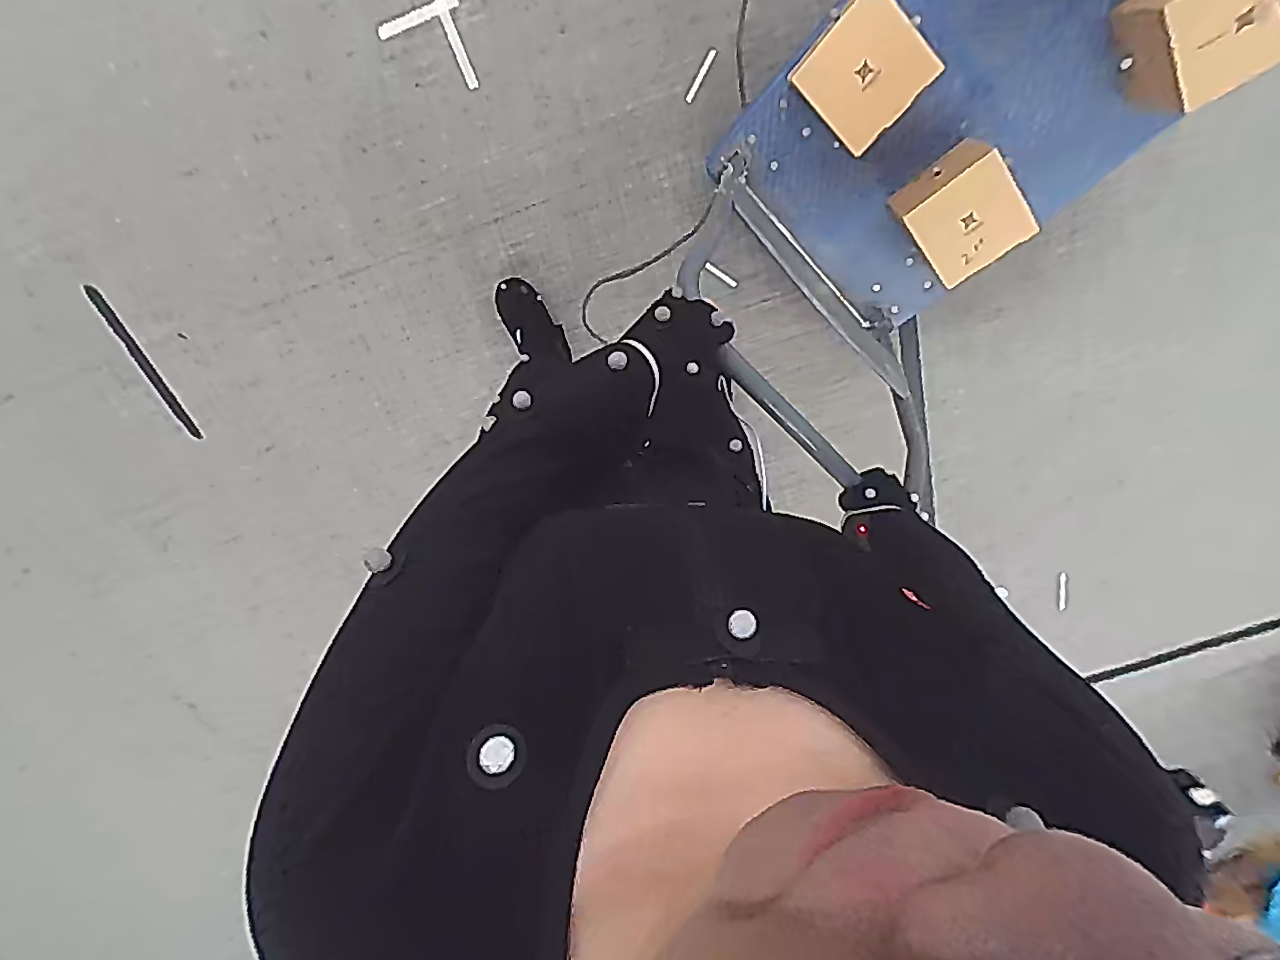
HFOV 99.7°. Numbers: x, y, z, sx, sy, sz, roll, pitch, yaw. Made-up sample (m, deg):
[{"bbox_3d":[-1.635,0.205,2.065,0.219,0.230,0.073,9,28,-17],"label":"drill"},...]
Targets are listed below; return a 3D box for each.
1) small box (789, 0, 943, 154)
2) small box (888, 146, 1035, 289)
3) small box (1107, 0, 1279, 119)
[{"bbox_3d":[0.376,-0.704,0.933,0.179,0.176,0.168,37,125,-18],"label":"small box"},{"bbox_3d":[0.603,-0.507,1.035,0.168,0.176,0.179,-33,114,31],"label":"small box"},{"bbox_3d":[0.876,-0.699,0.830,0.179,0.176,0.168,-26,118,29],"label":"small box"}]
